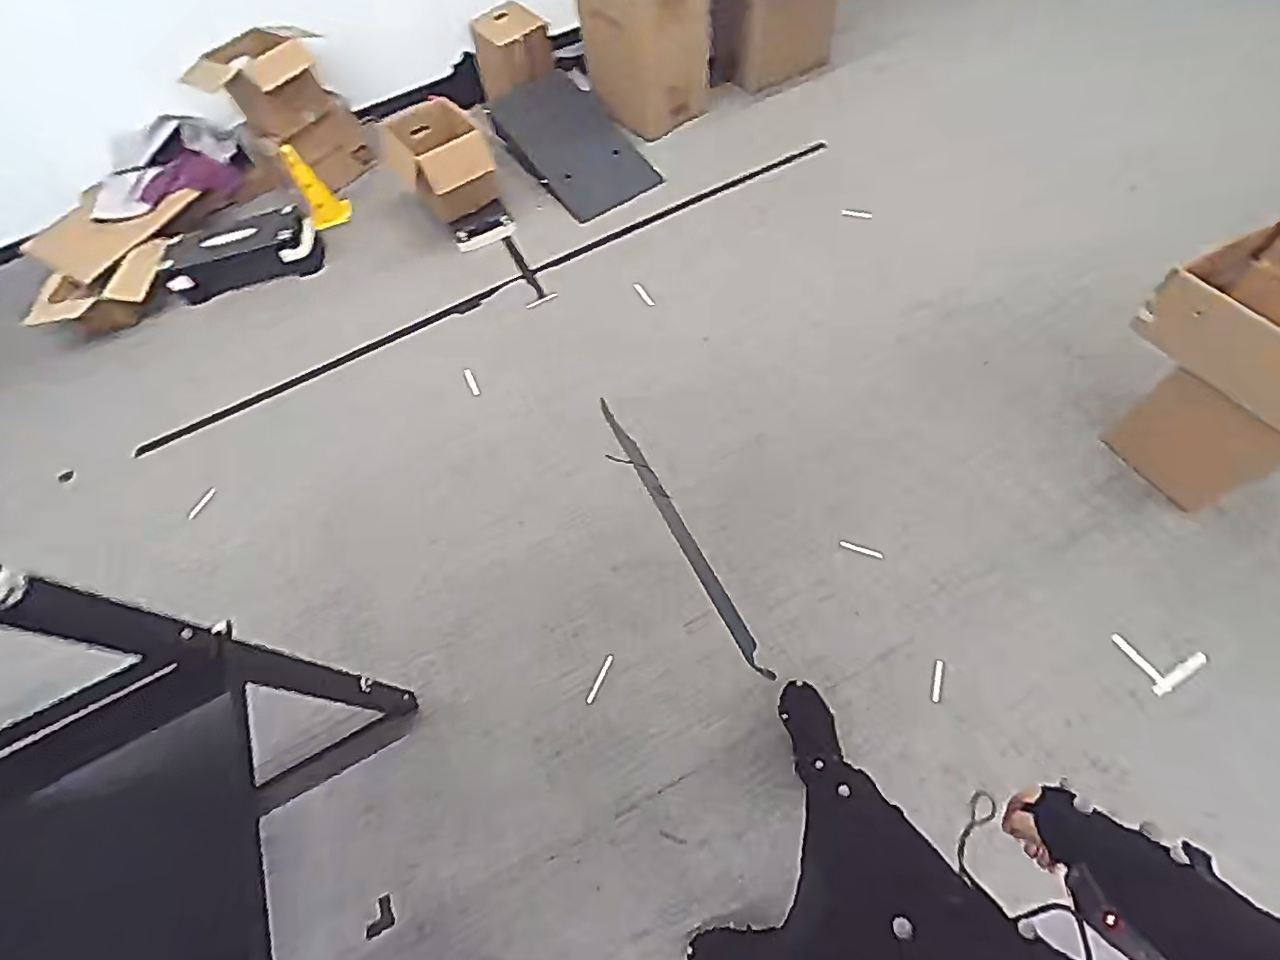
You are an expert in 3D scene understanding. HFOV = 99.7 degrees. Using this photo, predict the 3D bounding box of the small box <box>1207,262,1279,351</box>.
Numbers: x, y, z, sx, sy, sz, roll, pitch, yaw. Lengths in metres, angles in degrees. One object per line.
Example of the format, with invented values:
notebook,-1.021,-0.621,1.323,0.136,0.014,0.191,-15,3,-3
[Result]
small box,1.551,-0.449,1.302,0.179,0.176,0.168,-34,61,-11
